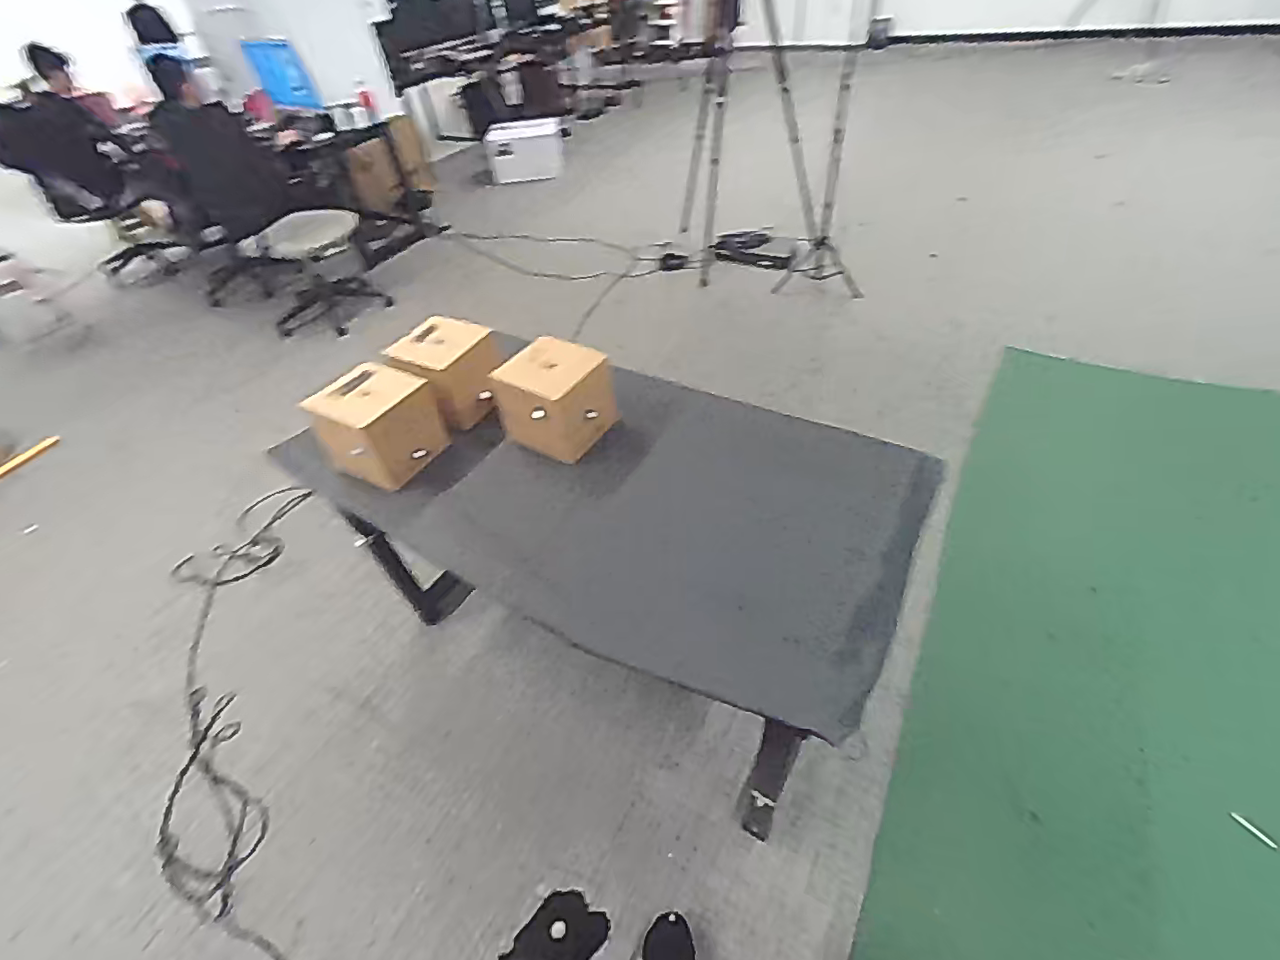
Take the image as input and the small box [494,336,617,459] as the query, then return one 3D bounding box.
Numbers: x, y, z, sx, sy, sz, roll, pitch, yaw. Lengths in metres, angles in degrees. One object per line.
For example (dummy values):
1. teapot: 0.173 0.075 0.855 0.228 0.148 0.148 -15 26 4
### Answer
1. small box: -0.165 -0.167 1.120 0.179 0.176 0.168 23 53 26
